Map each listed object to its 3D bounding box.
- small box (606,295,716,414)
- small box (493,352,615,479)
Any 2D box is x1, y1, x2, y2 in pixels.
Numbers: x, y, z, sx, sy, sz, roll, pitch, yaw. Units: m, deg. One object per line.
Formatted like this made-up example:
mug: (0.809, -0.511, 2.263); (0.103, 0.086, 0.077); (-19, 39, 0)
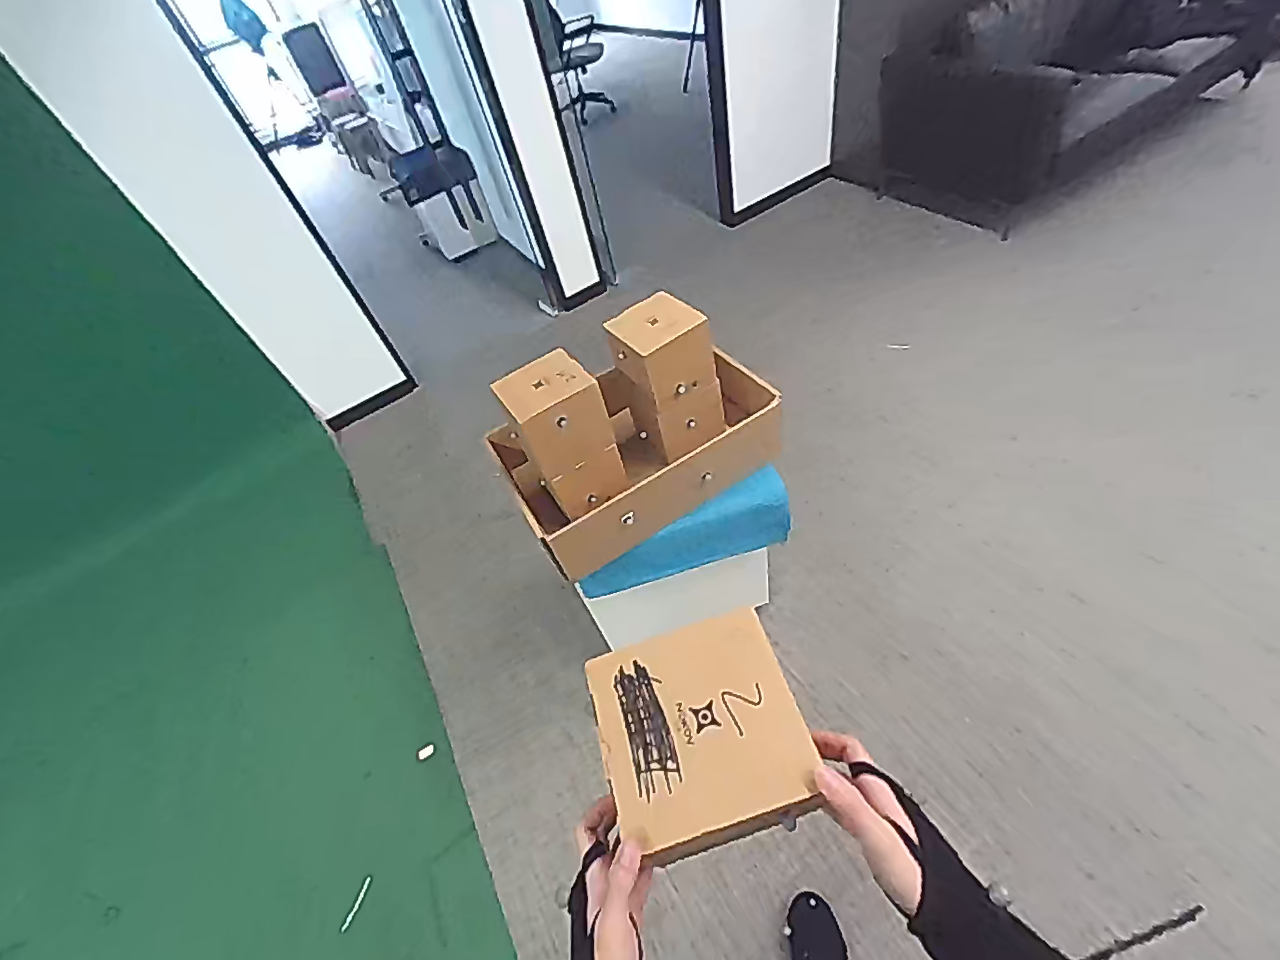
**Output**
small box: (0.050, -0.278, 1.206); (0.168, 0.176, 0.179); (-33, 48, -11)
small box: (-0.176, -0.132, 1.140); (0.179, 0.176, 0.168); (-31, 49, -14)
